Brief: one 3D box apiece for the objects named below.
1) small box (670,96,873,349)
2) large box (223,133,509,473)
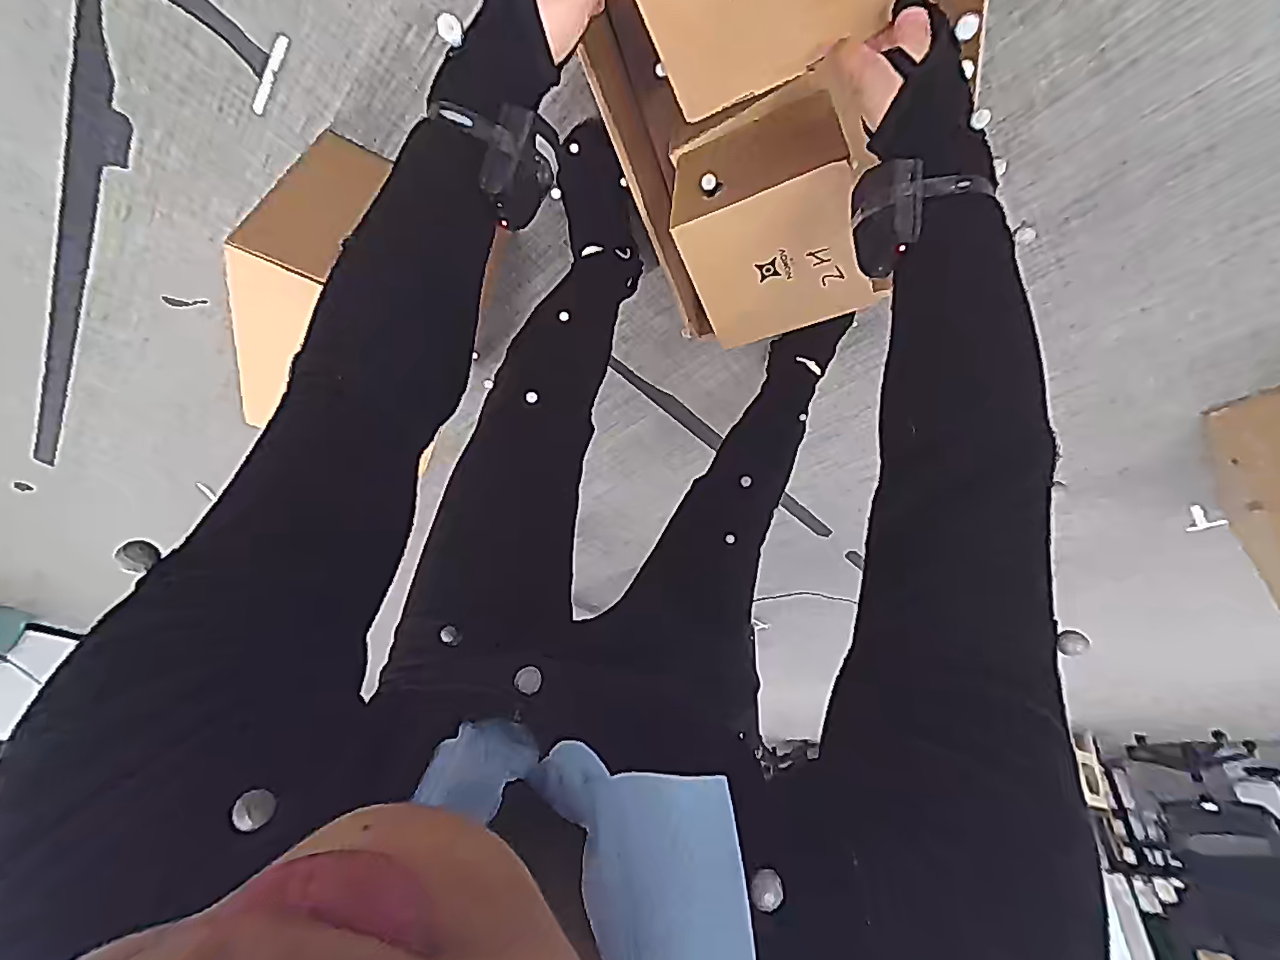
[{"bbox_3d":[0.147,-0.282,0.604,0.179,0.176,0.168,-13,139,22],"label":"small box"},{"bbox_3d":[-0.451,-0.276,0.940,0.320,0.320,0.408,20,143,-20],"label":"large box"}]
